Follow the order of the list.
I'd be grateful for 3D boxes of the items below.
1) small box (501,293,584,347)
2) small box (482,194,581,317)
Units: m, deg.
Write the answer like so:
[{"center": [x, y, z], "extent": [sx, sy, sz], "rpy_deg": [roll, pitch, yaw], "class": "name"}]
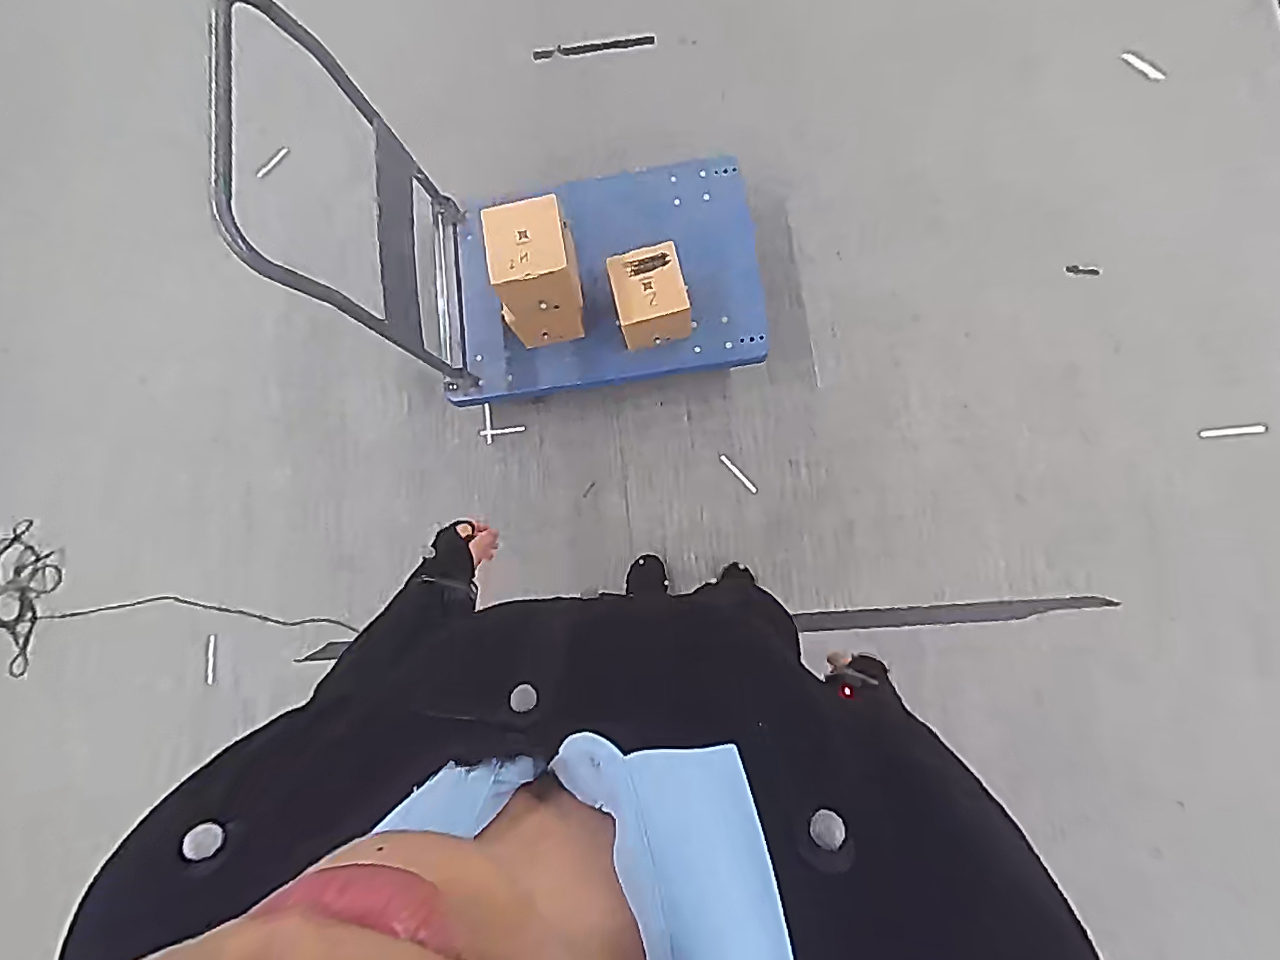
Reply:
[{"center": [-0.244, -0.459, 1.355], "extent": [0.168, 0.176, 0.179], "rpy_deg": [-11, 82, 3], "class": "small box"}, {"center": [-0.233, -0.486, 1.191], "extent": [0.168, 0.176, 0.179], "rpy_deg": [-10, 82, 4], "class": "small box"}]
